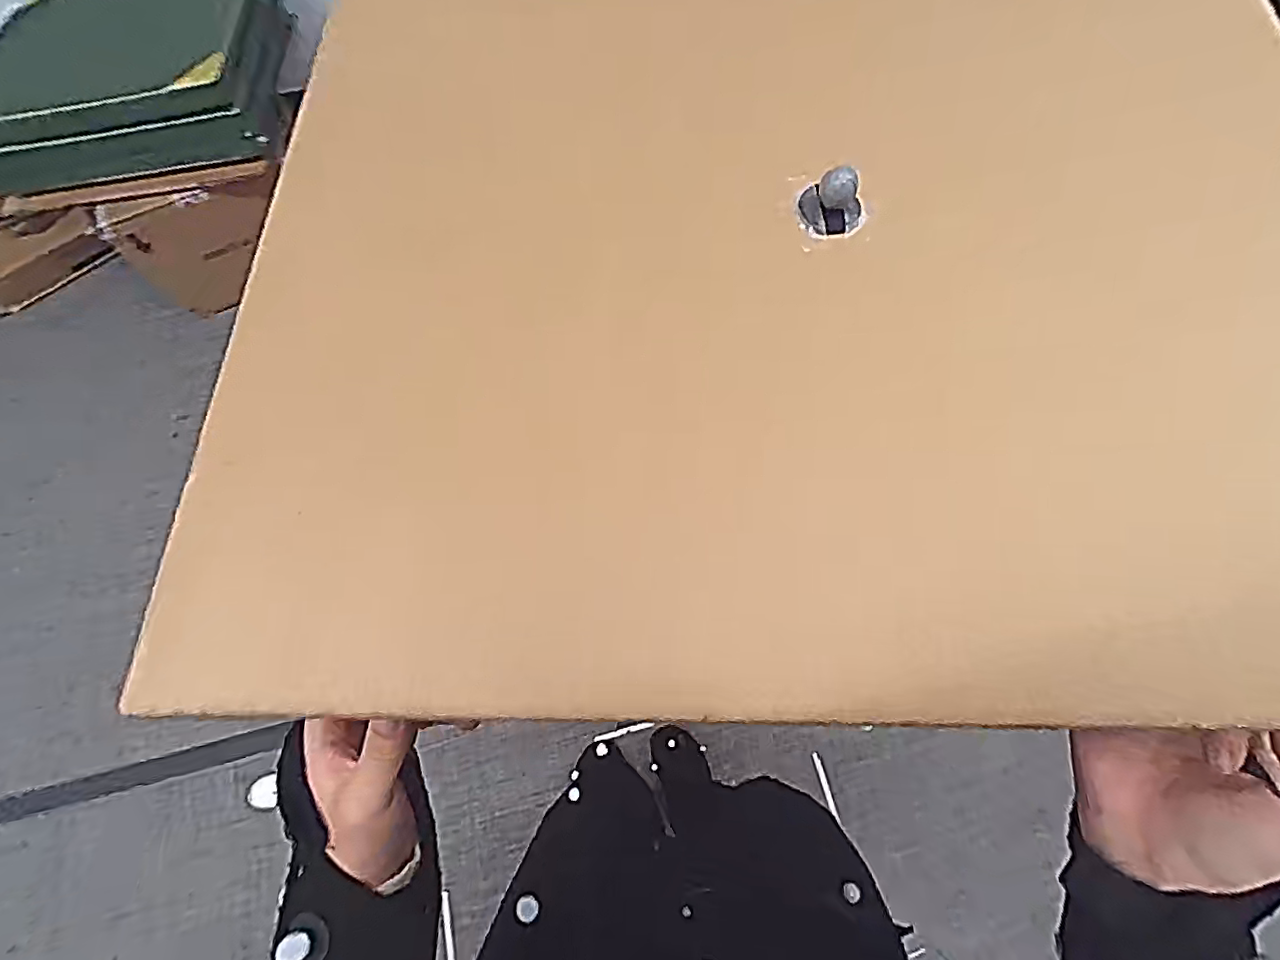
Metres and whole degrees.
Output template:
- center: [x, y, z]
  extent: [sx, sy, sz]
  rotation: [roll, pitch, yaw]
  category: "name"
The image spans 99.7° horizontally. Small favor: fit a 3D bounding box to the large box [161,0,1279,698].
- center: [0.066, -0.042, 0.329]
  extent: [0.408, 0.320, 0.320]
  rotation: [0, 72, 2]
  category: "large box"
